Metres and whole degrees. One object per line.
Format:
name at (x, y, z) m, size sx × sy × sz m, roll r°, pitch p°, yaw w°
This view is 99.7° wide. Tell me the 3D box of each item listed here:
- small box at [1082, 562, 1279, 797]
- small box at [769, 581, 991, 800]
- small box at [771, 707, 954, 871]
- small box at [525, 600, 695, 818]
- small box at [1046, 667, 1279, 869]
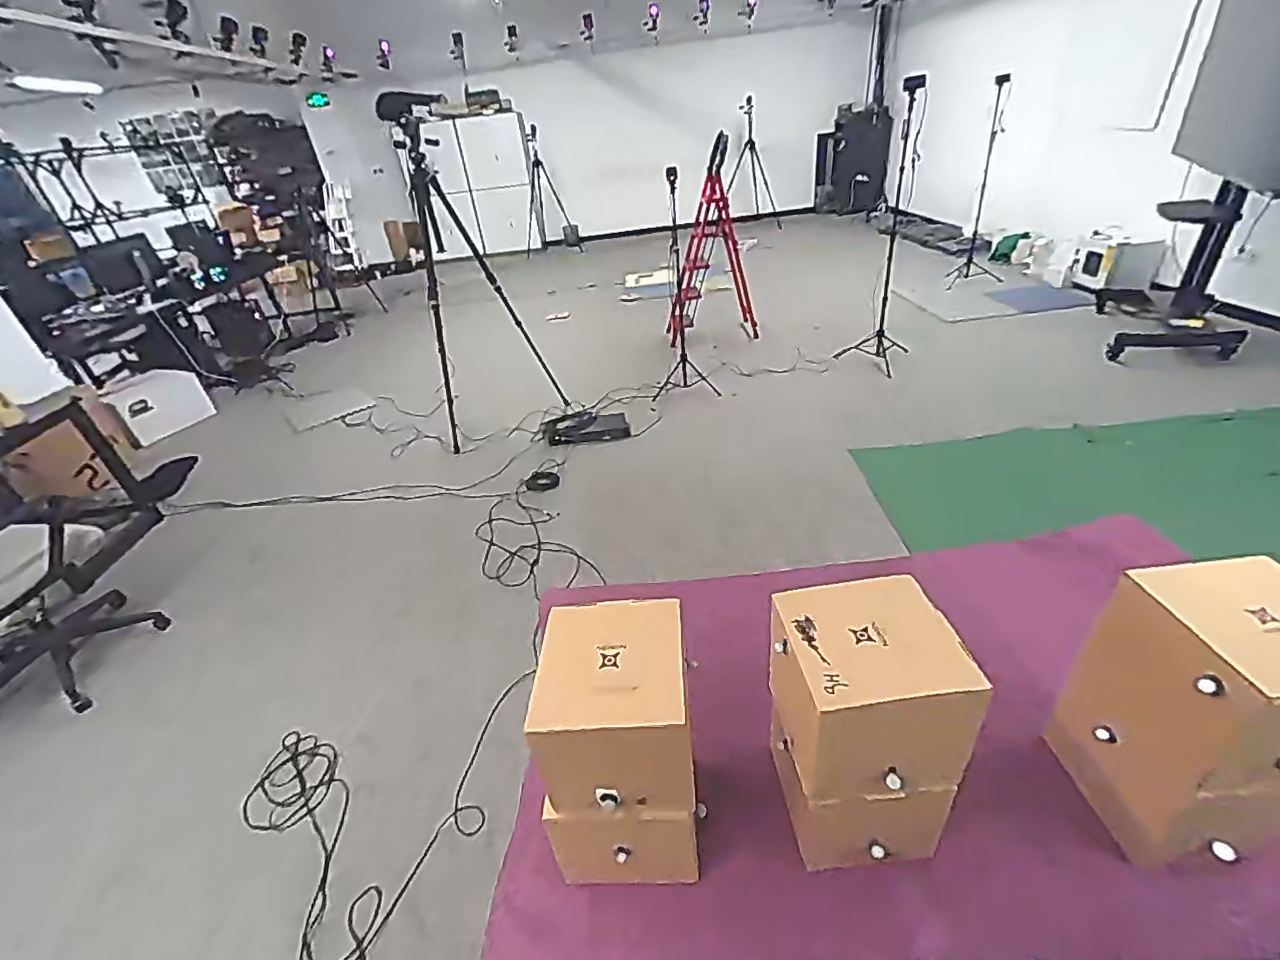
small box at (0.654, 0.217, 0.604) m, size 0.168 × 0.176 × 0.179 m, roll -6°, pitch 33°, yaw 1°
small box at (0.258, 0.243, 0.632) m, size 0.179 × 0.176 × 0.168 m, roll -6°, pitch 31°, yaw -1°
small box at (0.276, 0.380, 0.721) m, size 0.168 × 0.176 × 0.179 m, roll -7°, pitch 32°, yaw 0°
small box at (-0.024, 0.269, 0.646) m, size 0.168 × 0.176 × 0.179 m, roll -6°, pitch 32°, yaw 4°
small box at (0.669, 0.356, 0.688) m, size 0.168 × 0.176 × 0.179 m, roll -6°, pitch 33°, yaw 2°
